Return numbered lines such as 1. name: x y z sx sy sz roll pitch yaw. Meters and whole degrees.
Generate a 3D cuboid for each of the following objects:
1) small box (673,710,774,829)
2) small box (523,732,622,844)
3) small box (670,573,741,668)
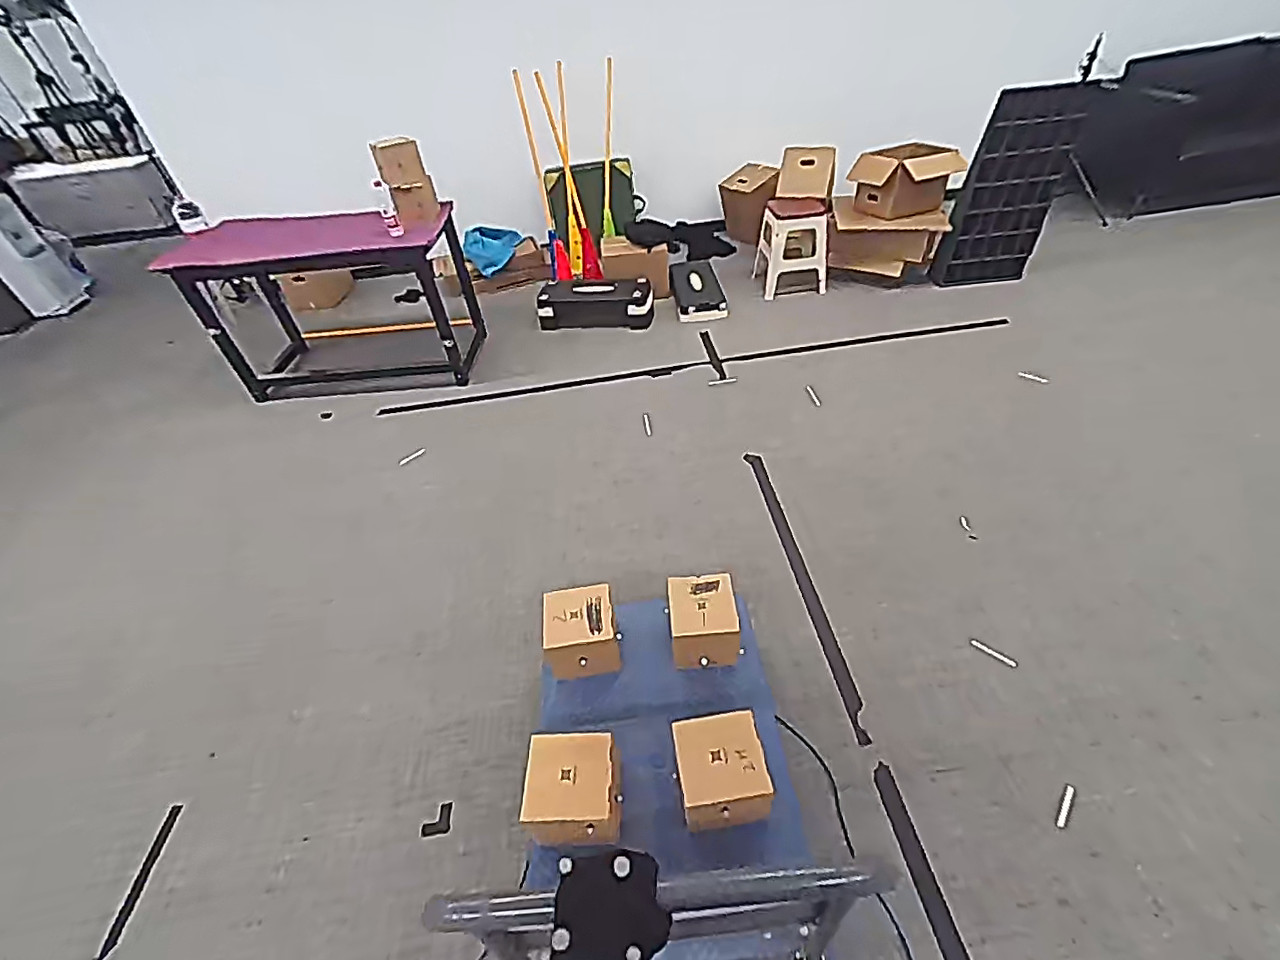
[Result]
1. small box: 0.173 0.617 1.147 0.179 0.176 0.168 -9 43 -2
2. small box: -0.134 0.655 1.147 0.179 0.176 0.168 -3 42 2
3. small box: 0.166 0.368 1.415 0.168 0.176 0.179 -5 44 2
